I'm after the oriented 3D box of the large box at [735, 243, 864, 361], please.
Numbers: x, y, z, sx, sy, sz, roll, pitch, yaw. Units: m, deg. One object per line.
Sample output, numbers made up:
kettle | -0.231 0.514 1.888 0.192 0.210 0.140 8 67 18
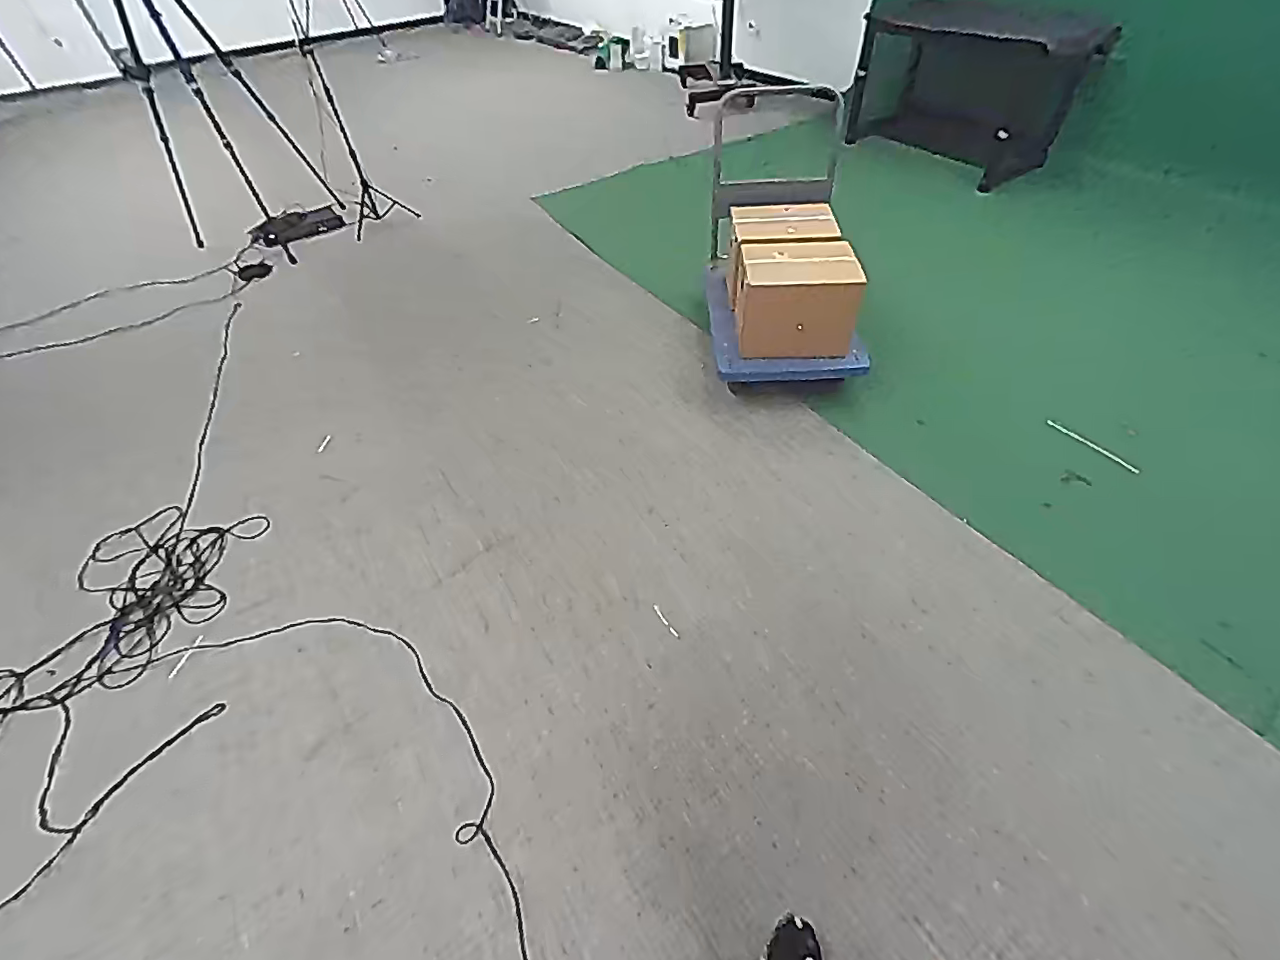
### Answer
large box | 0.582 -0.674 2.058 0.408 0.320 0.320 -1 48 5
